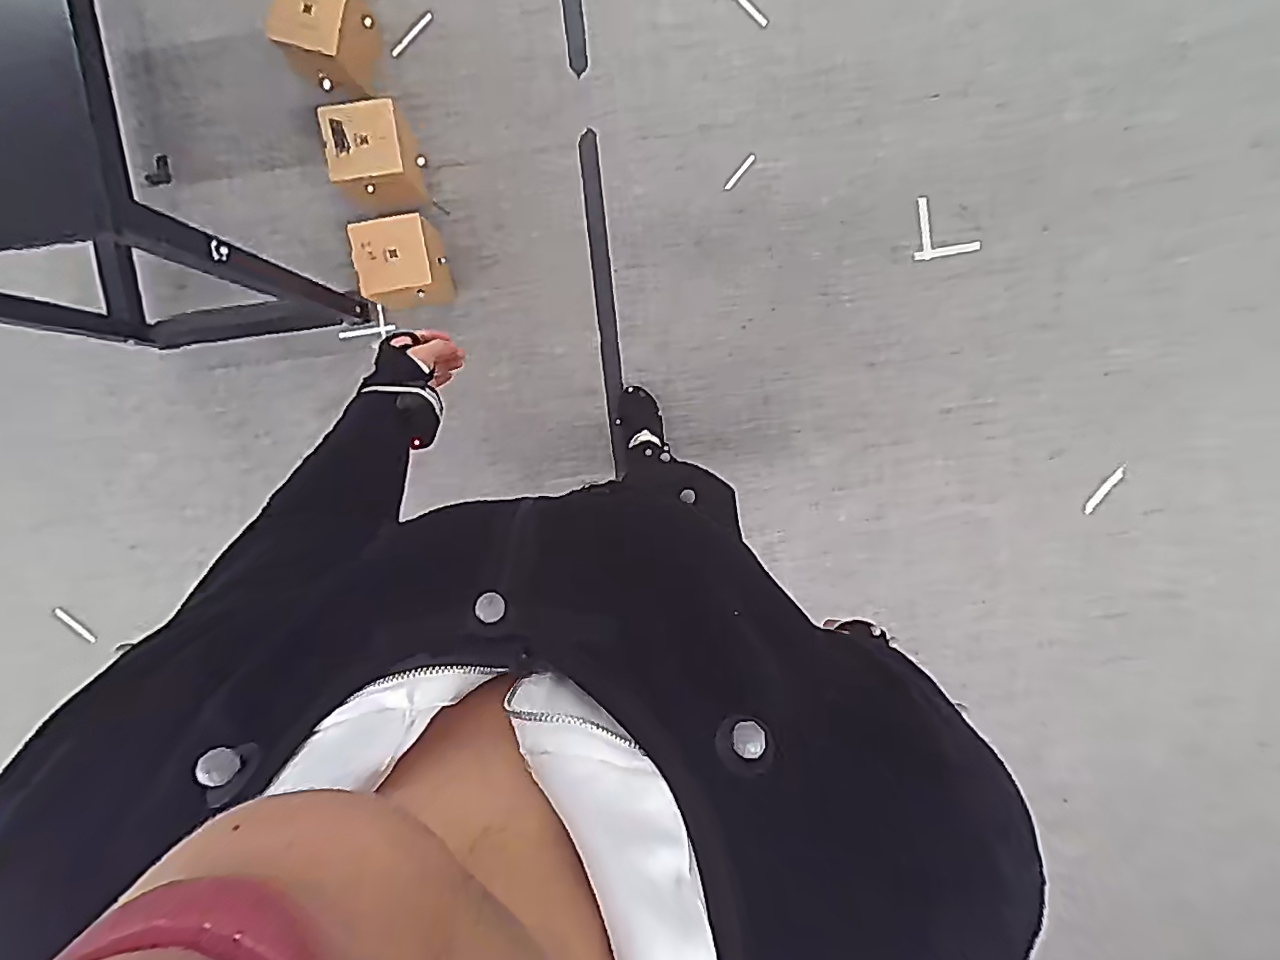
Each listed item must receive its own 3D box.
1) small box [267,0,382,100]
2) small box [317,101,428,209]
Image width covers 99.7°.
[{"bbox_3d":[-0.750,-1.071,1.302,0.168,0.176,0.179,14,97,-1],"label":"small box"},{"bbox_3d":[-0.649,-0.789,1.330,0.179,0.176,0.168,-8,96,-1],"label":"small box"}]
